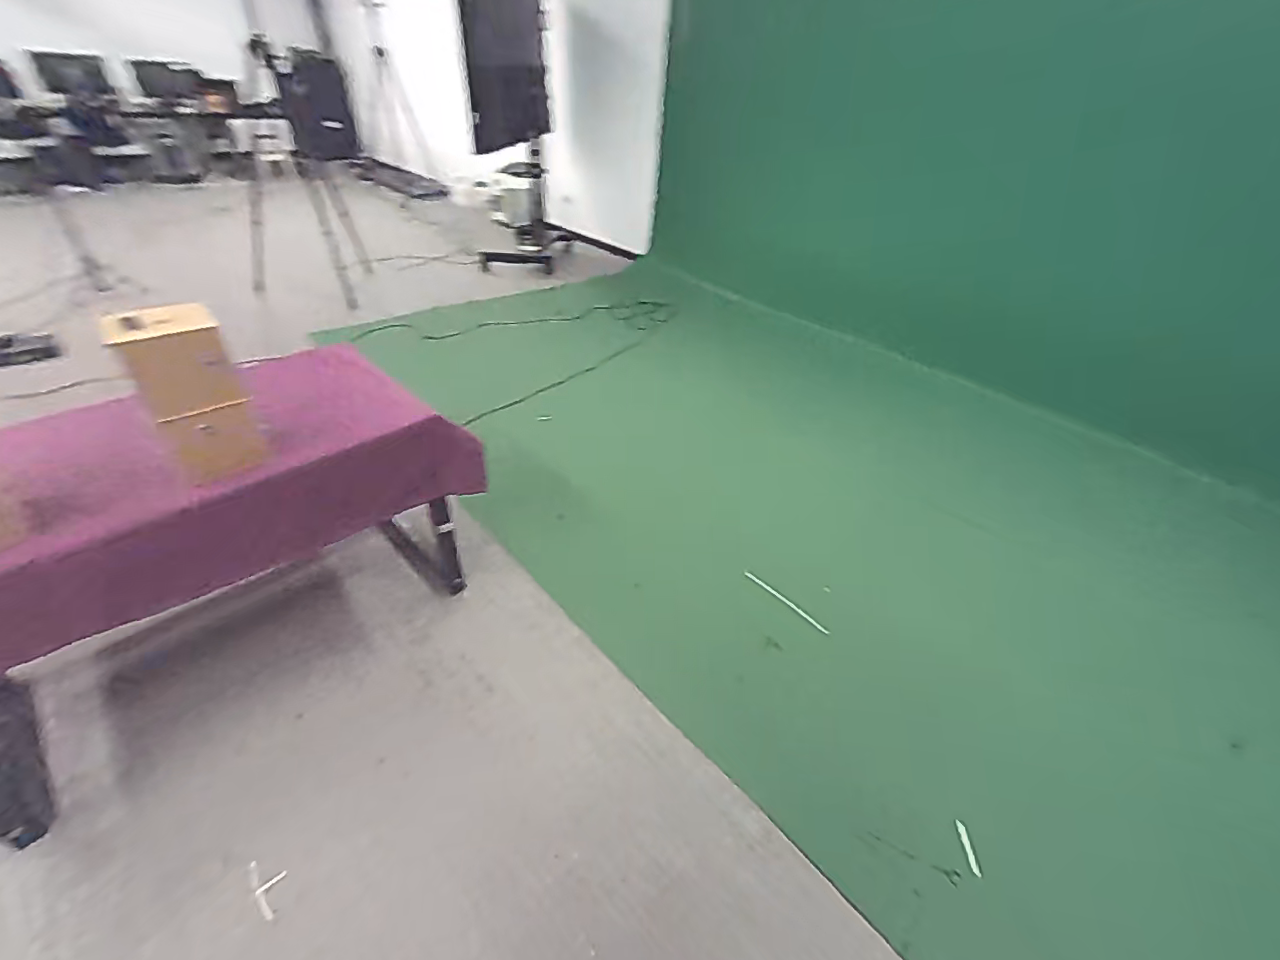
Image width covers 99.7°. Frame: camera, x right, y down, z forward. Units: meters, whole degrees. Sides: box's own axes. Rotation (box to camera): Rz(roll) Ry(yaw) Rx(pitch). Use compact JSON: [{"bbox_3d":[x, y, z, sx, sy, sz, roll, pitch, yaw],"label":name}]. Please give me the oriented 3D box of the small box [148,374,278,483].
[{"bbox_3d":[-0.977,-0.119,1.246,0.179,0.176,0.168,-27,48,-36],"label":"small box"}]
